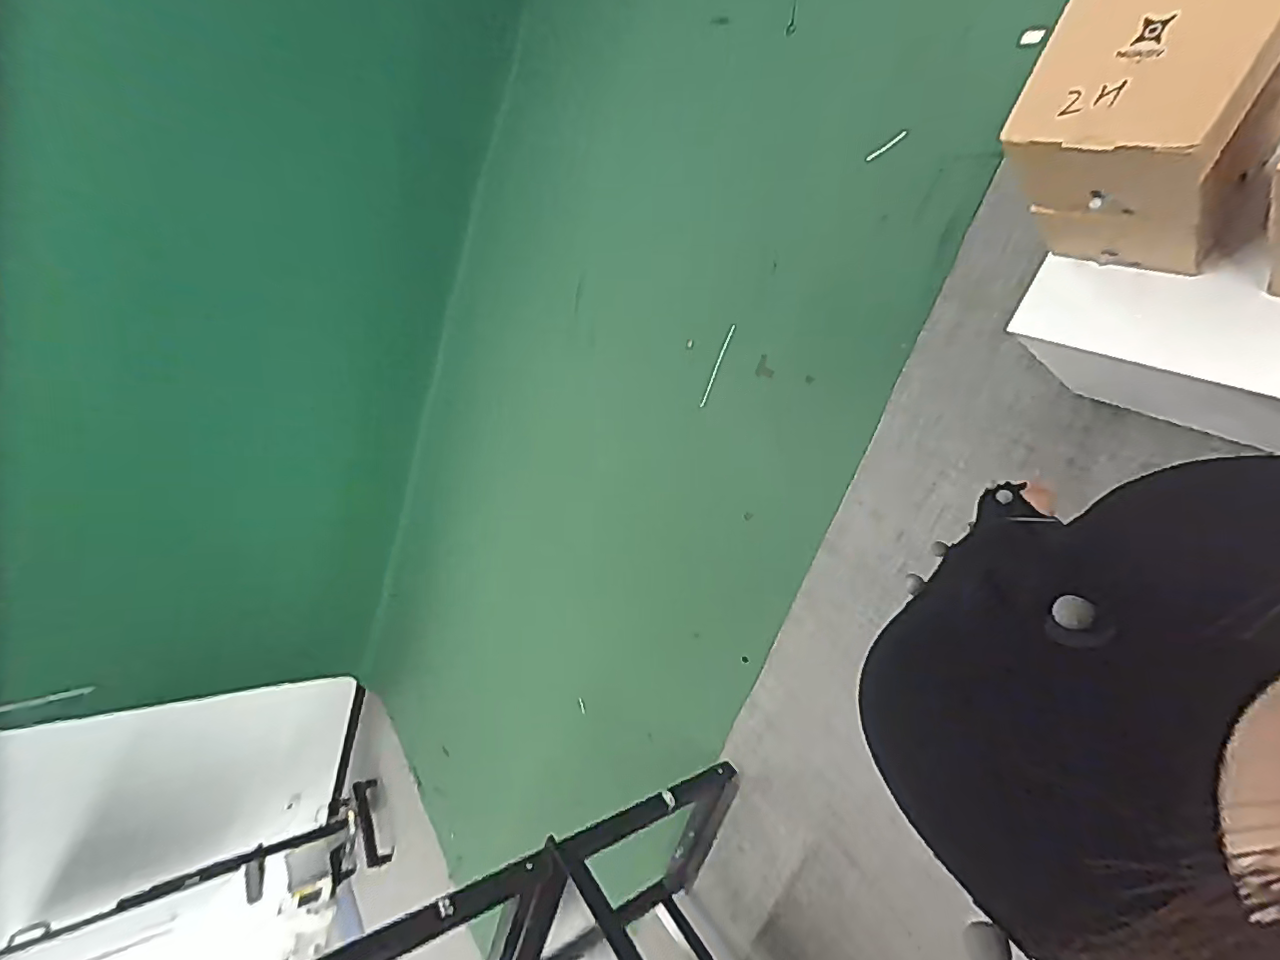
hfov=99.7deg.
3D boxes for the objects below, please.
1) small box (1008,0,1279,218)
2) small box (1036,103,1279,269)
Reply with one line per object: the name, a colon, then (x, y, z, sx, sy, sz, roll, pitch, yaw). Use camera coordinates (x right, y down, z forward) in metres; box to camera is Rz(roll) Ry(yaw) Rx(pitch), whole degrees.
small box: (0.515, -0.392, 0.539, 0.168, 0.176, 0.179, 38, 114, 41)
small box: (0.630, -0.381, 0.656, 0.168, 0.176, 0.179, 37, 114, 41)
